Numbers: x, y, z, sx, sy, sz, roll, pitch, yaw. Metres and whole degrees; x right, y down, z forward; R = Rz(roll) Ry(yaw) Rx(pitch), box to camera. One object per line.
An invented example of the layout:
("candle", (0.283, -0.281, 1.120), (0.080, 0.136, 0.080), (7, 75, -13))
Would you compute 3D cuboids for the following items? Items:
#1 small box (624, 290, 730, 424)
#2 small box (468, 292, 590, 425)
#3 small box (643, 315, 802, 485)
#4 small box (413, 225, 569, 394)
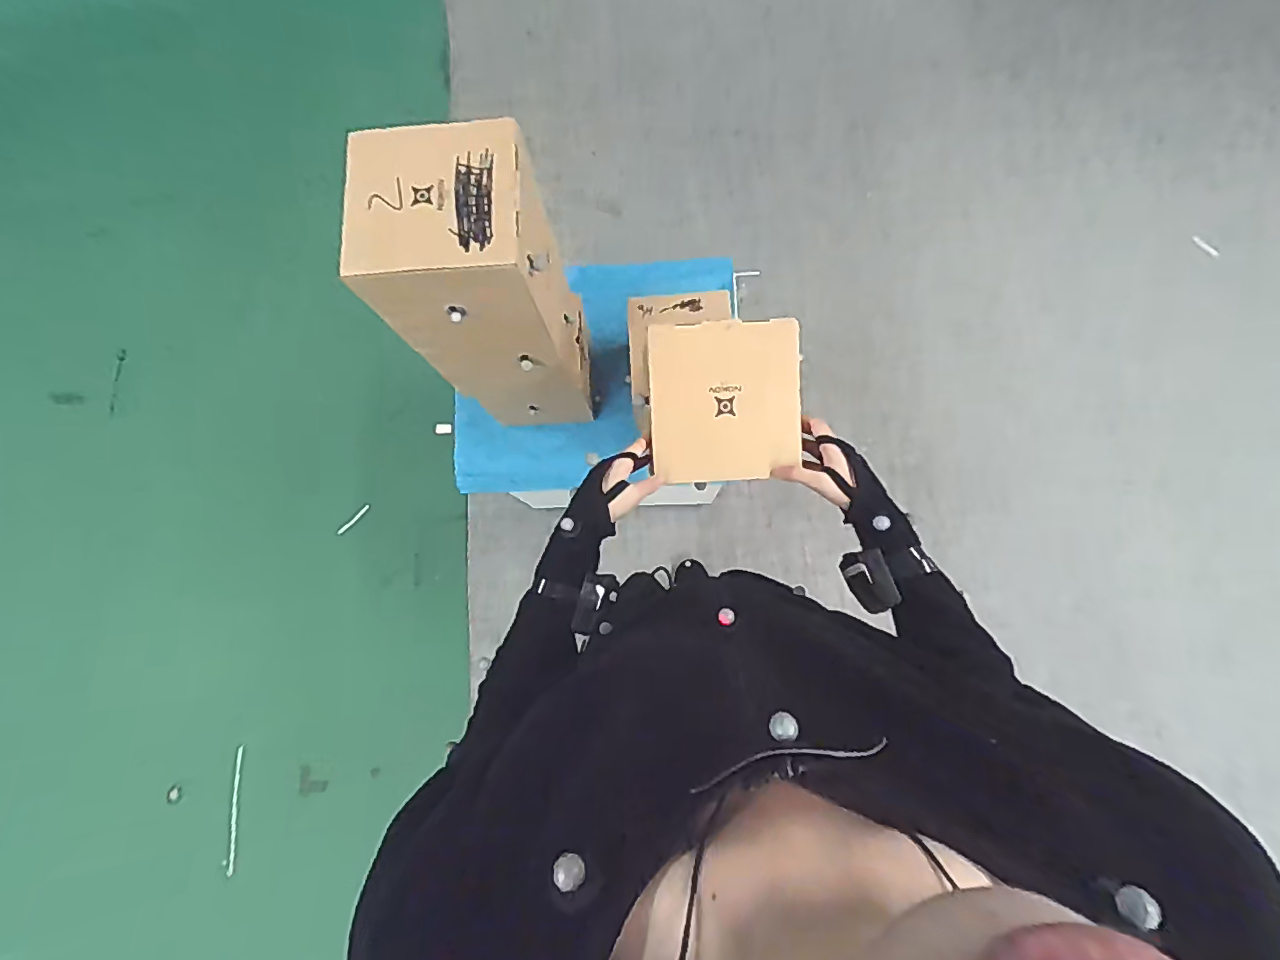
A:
("small box", (0.064, -0.193, 0.908), (0.168, 0.176, 0.179), (-3, 79, 2))
("small box", (-0.179, -0.197, 0.918), (0.179, 0.176, 0.168), (-4, 78, 2))
("small box", (0.090, -0.090, 0.657), (0.168, 0.176, 0.179), (-3, 93, 0))
("small box", (-0.195, -0.228, 0.757), (0.179, 0.176, 0.168), (-3, 78, 1))
